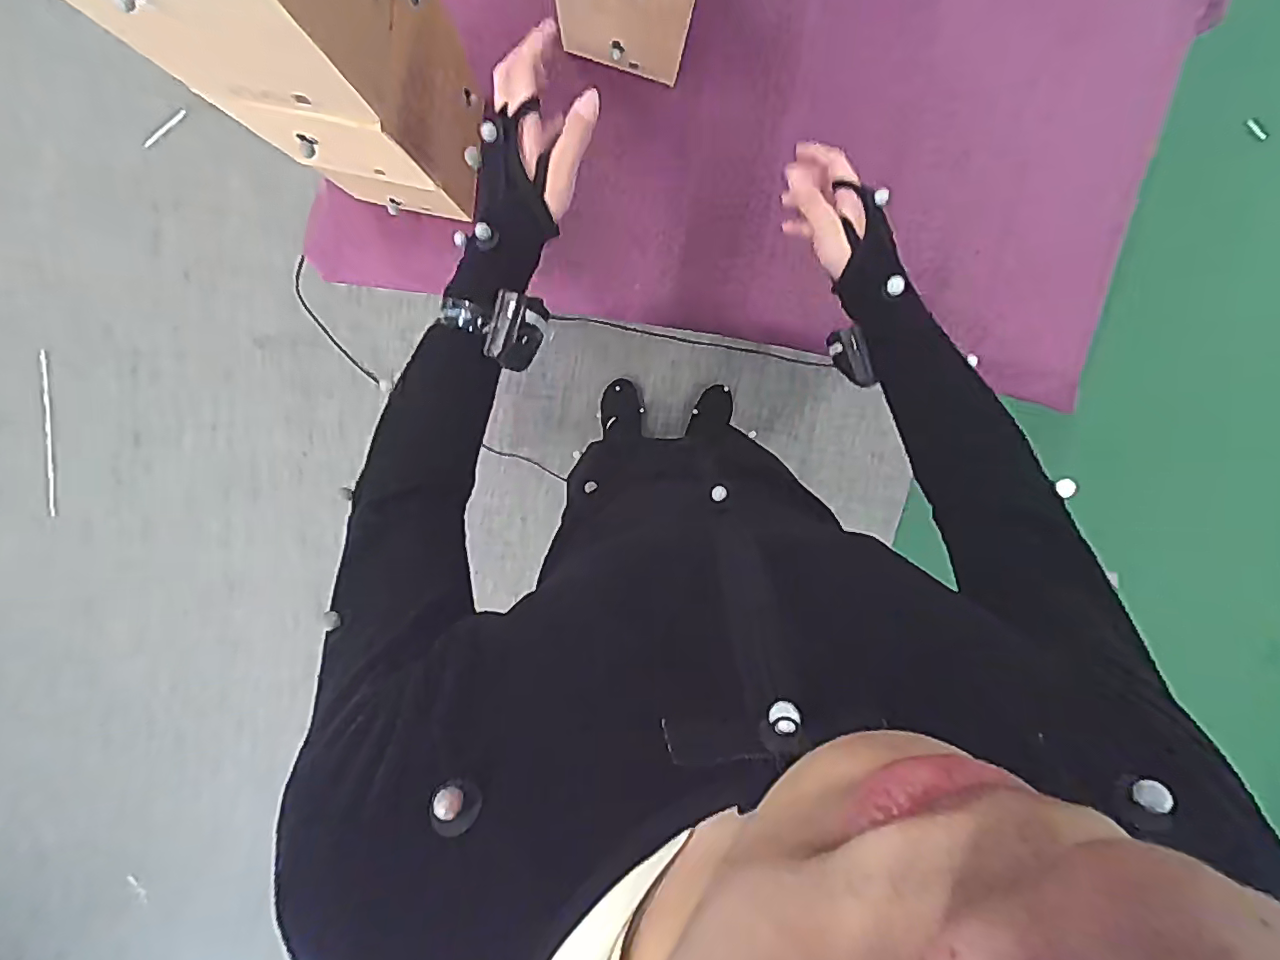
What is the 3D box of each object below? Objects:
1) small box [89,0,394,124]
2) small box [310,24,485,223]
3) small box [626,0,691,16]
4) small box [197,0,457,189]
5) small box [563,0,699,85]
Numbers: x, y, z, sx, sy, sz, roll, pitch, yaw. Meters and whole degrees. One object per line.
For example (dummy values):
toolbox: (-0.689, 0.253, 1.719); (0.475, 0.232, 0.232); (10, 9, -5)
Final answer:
small box: (-0.290, -0.396, 0.381); (0.168, 0.176, 0.179); (8, 99, -3)
small box: (-0.307, -0.461, 0.701); (0.168, 0.176, 0.179); (9, 101, -4)
small box: (-0.001, -0.610, 0.516); (0.168, 0.176, 0.179); (12, 102, -5)
small box: (-0.296, -0.421, 0.544); (0.168, 0.176, 0.179); (10, 99, -4)
small box: (-0.001, -0.649, 0.675); (0.168, 0.176, 0.179); (14, 102, -5)
